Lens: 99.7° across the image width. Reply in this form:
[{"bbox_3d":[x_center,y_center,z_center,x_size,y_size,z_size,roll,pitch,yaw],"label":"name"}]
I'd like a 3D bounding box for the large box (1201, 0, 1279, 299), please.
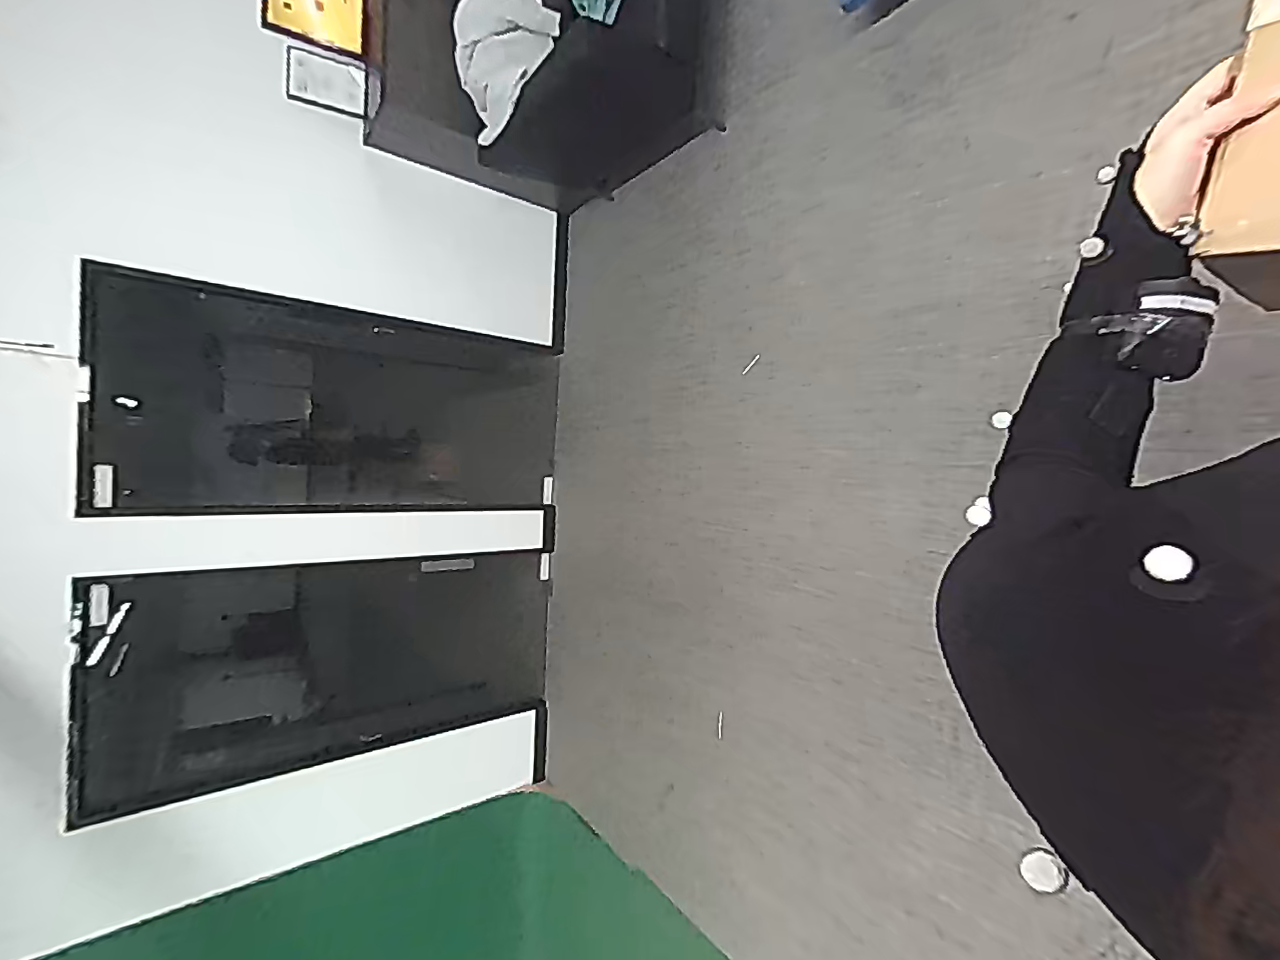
[{"bbox_3d":[0.670,-0.290,0.303,0.408,0.320,0.320,20,108,55],"label":"large box"}]
